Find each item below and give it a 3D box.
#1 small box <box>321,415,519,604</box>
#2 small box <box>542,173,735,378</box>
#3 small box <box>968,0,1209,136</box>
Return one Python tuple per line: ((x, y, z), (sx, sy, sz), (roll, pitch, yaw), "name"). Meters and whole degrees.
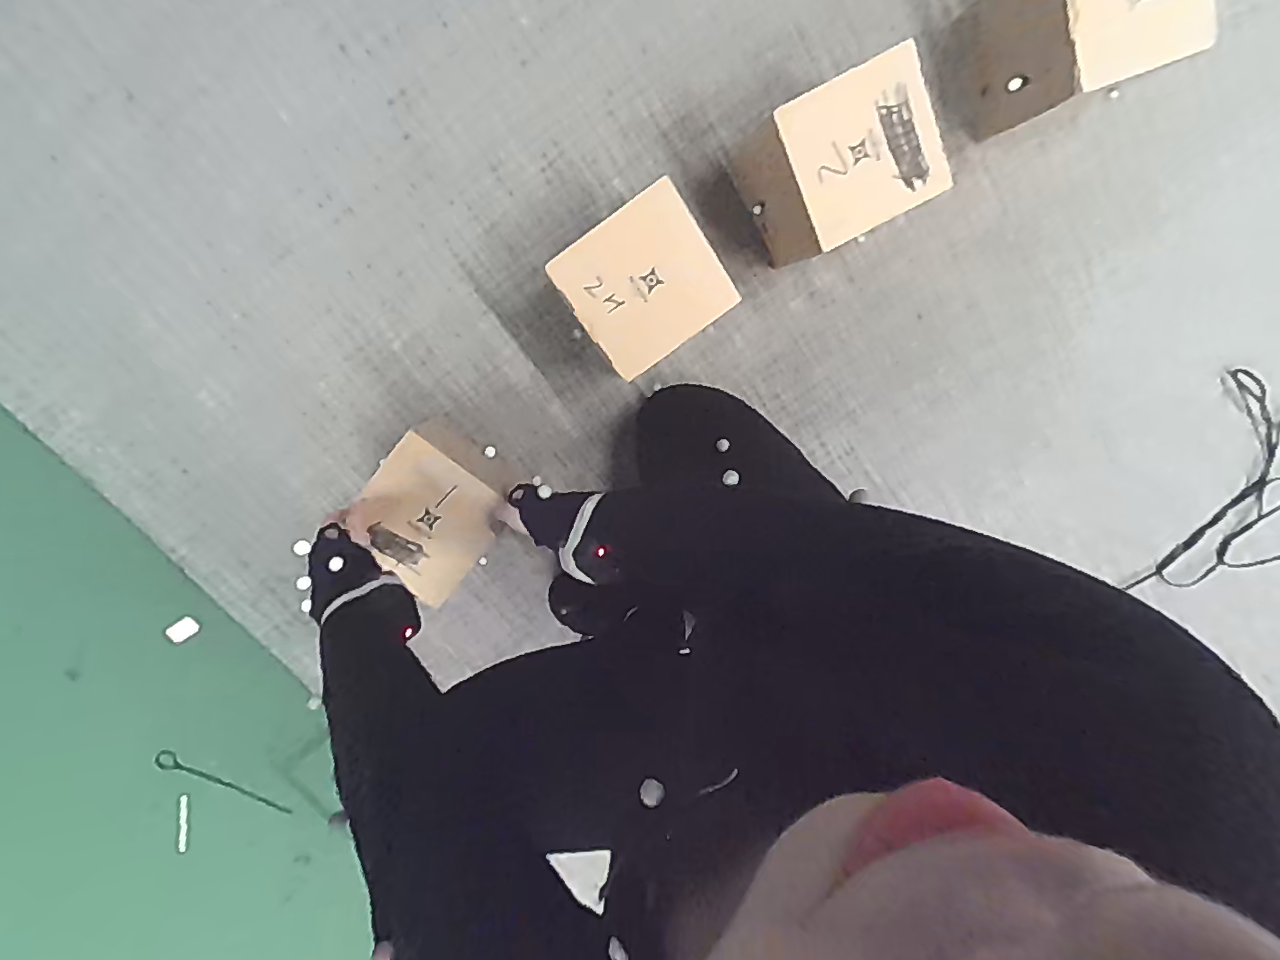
((-0.283, 0.029, 0.745), (0.168, 0.176, 0.179), (40, 94, -13), "small box")
((-0.008, -0.255, 0.707), (0.179, 0.176, 0.168), (-35, 105, 4), "small box")
((0.548, -0.571, 0.684), (0.179, 0.176, 0.168), (-20, 107, -1), "small box")
